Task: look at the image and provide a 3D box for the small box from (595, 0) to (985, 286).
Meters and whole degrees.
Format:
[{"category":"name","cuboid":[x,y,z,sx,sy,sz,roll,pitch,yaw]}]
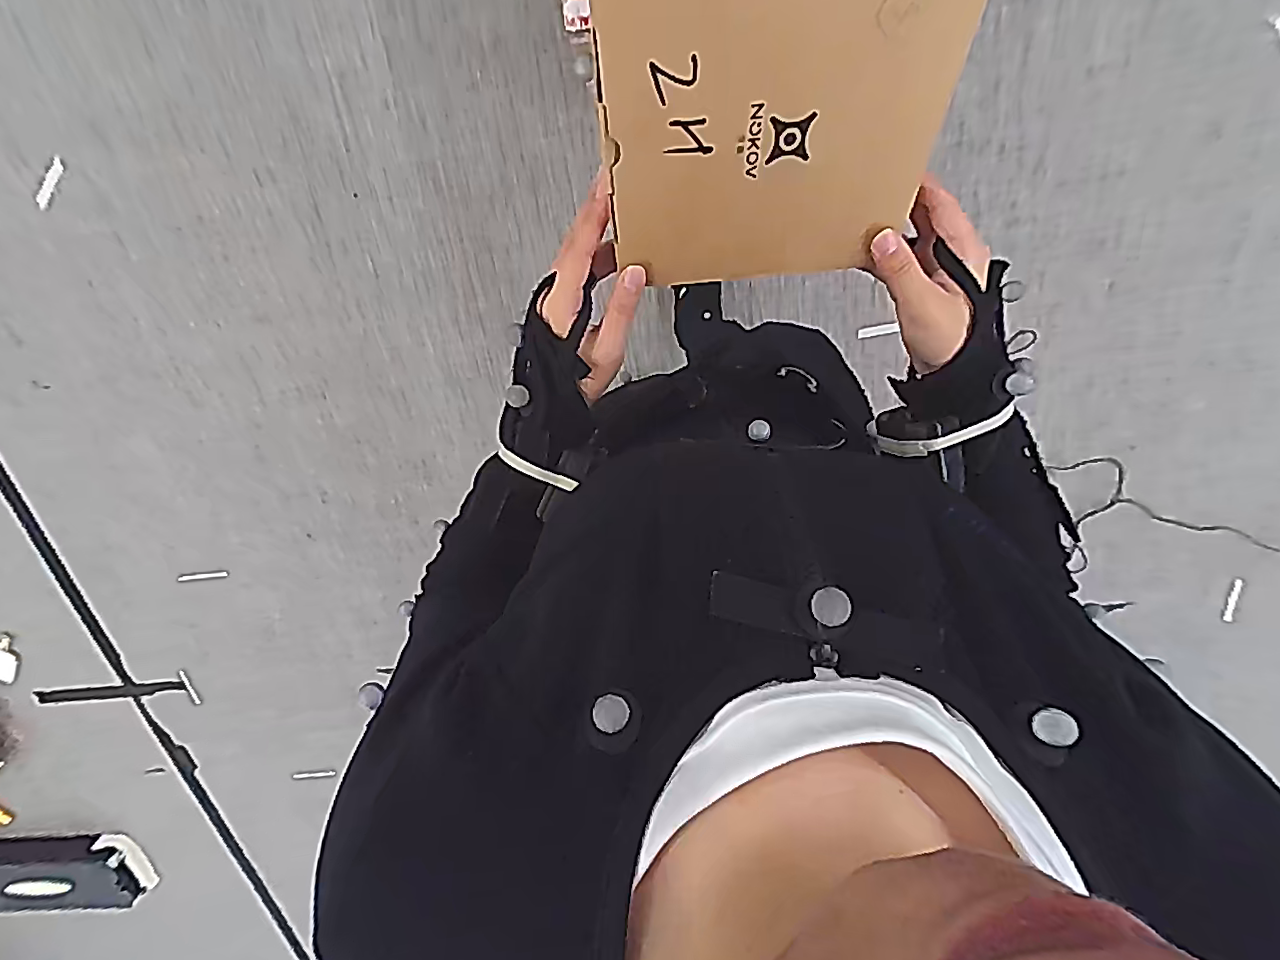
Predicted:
[{"category":"small box","cuboid":[0.065,-0.245,0.328,0.179,0.176,0.168,-5,145,1]}]
